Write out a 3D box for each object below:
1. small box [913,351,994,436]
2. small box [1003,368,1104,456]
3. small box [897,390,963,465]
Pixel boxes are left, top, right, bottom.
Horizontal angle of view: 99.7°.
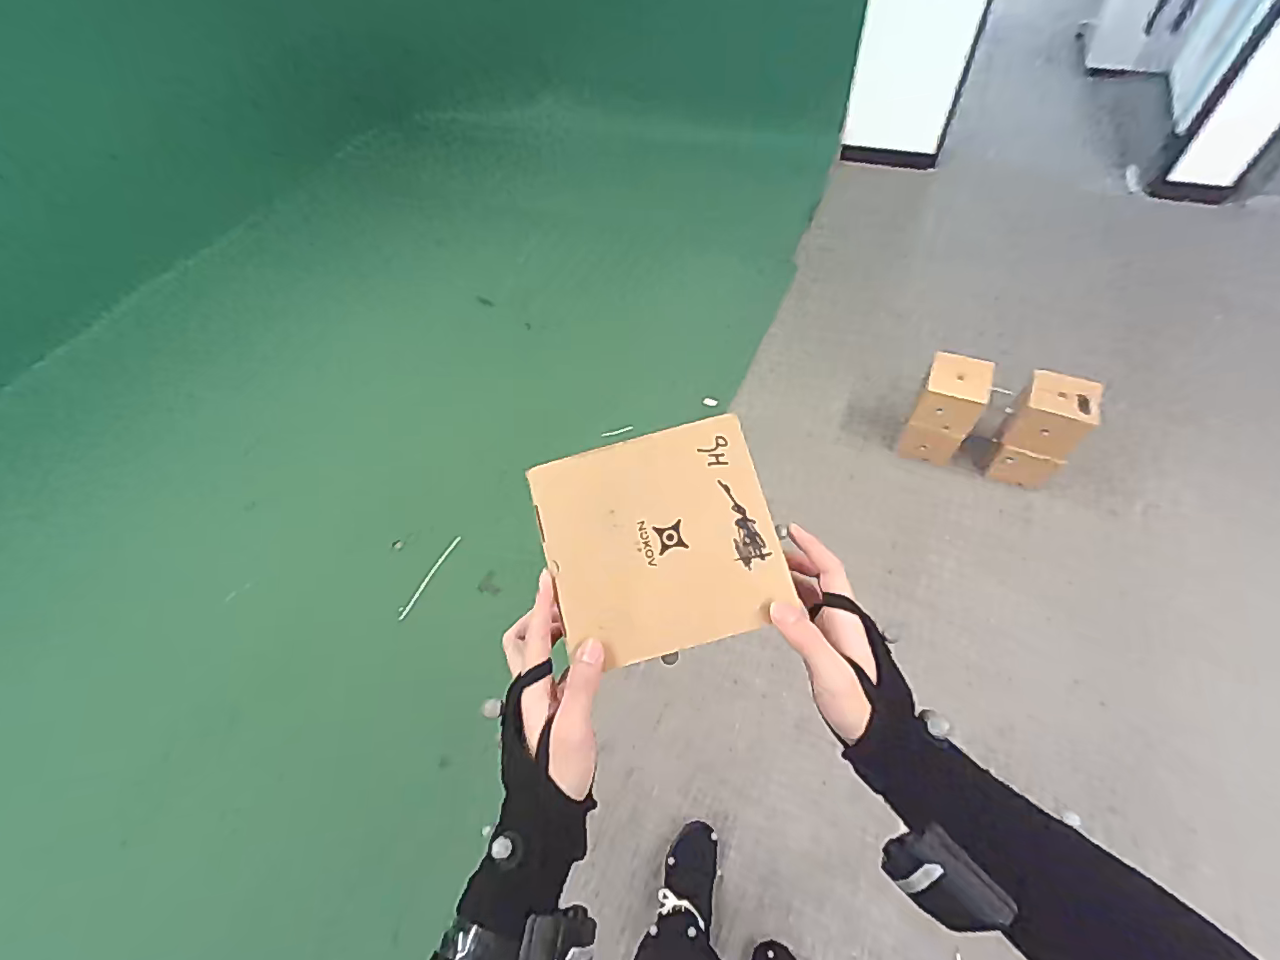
[{"bbox_3d":[0.964,-0.264,1.675,0.168,0.176,0.179,18,60,18],"label":"small box"},{"bbox_3d":[1.213,-0.195,1.594,0.179,0.176,0.168,21,61,20],"label":"small box"},{"bbox_3d":[0.980,-0.177,1.809,0.168,0.176,0.179,21,62,19],"label":"small box"}]
